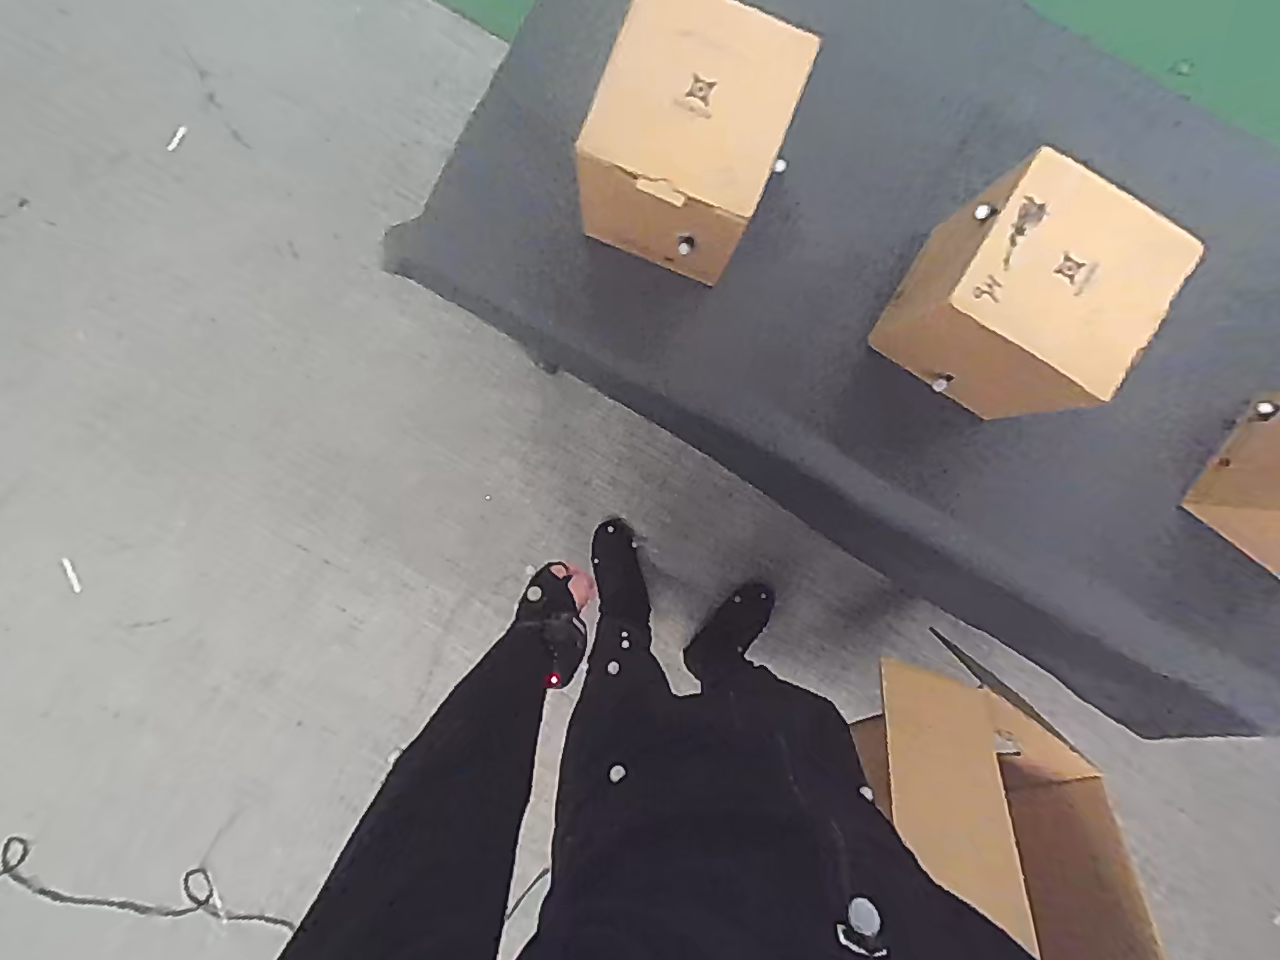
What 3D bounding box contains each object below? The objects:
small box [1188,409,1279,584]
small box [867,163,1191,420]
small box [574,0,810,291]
[{"bbox_3d":[0.766,0.023,0.574,0.179,0.176,0.168,36,90,-2],"label":"small box"},{"bbox_3d":[0.382,-0.174,0.565,0.179,0.176,0.168,31,90,-2],"label":"small box"},{"bbox_3d":[0.044,-0.324,0.557,0.168,0.176,0.179,21,88,-3],"label":"small box"}]
